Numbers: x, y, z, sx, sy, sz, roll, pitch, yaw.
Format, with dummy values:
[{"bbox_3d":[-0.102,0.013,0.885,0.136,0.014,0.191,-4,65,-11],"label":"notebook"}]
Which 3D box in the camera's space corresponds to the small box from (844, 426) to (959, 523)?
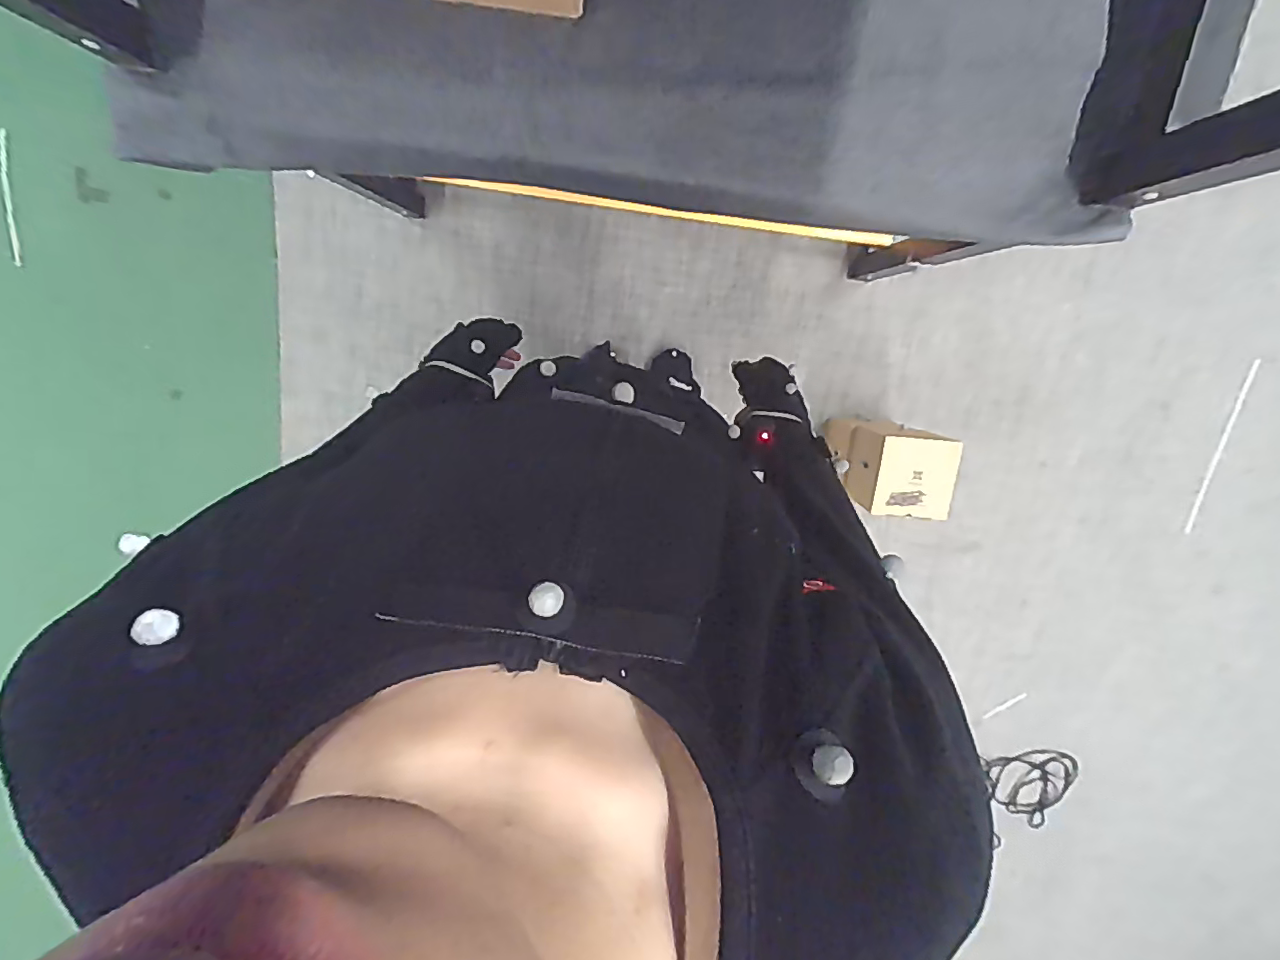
[{"bbox_3d":[0.580,-0.017,1.226,0.168,0.176,0.179,5,104,0],"label":"small box"}]
